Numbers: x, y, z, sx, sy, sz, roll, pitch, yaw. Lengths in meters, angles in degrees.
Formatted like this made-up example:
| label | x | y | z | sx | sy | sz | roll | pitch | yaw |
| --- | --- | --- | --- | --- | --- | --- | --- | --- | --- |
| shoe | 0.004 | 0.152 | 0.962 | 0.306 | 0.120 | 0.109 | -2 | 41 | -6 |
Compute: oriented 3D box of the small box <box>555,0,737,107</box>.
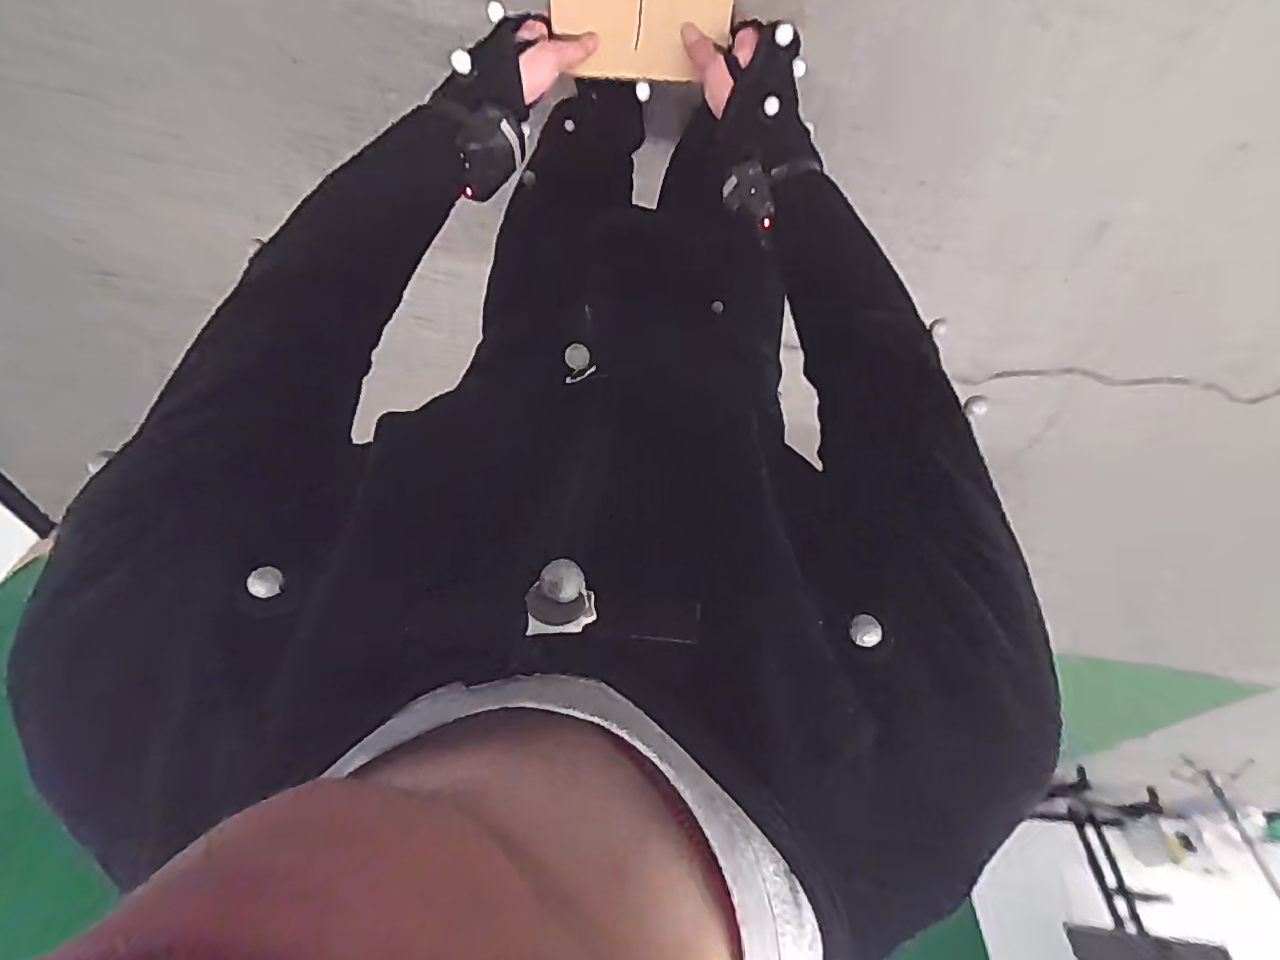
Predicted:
| label | x | y | z | sx | sy | sz | roll | pitch | yaw |
| --- | --- | --- | --- | --- | --- | --- | --- | --- | --- |
| small box | 0.013 | -0.484 | 0.540 | 0.168 | 0.176 | 0.179 | 5 | 125 | 5 |
